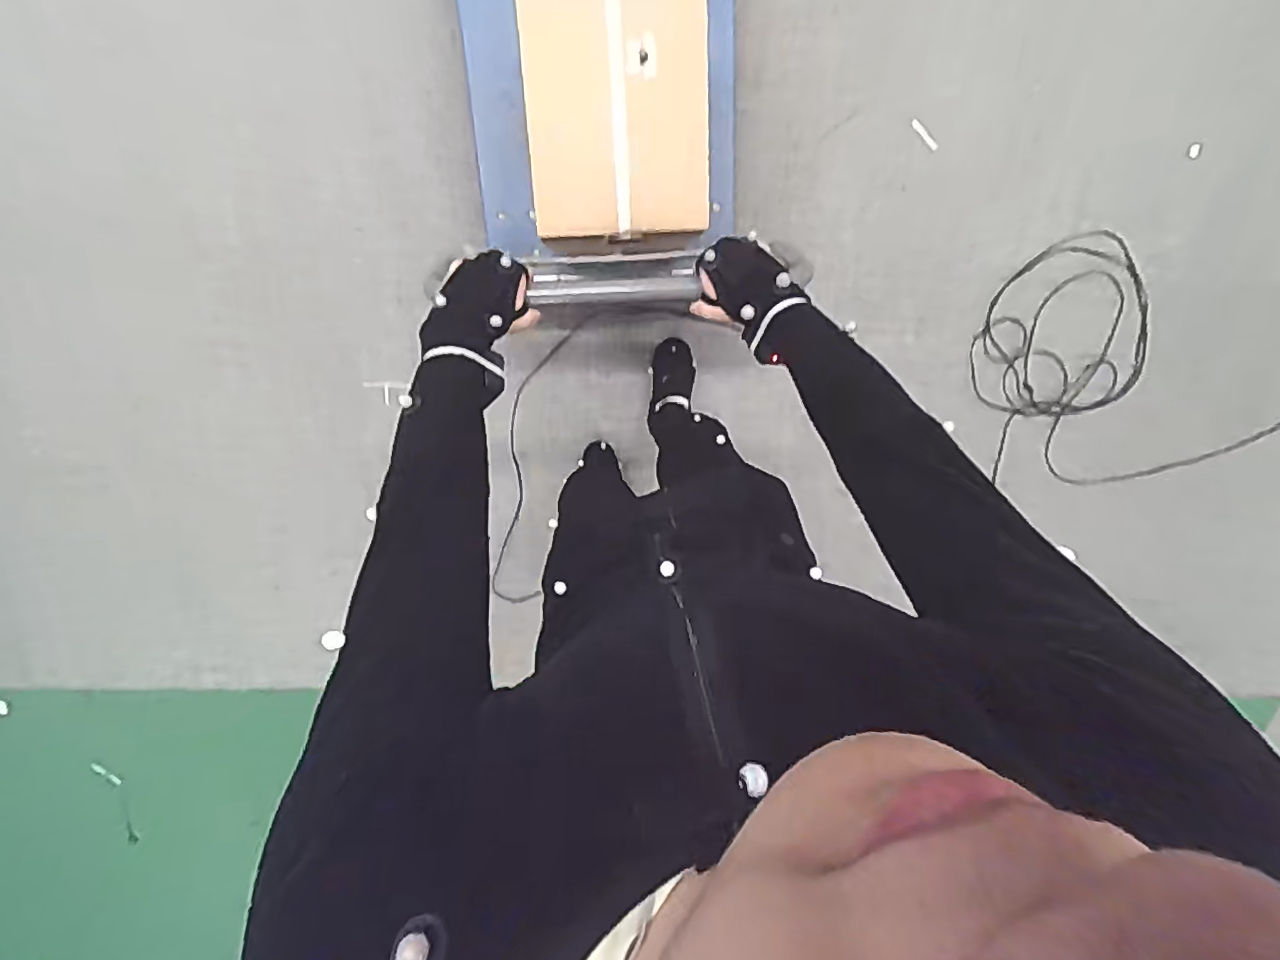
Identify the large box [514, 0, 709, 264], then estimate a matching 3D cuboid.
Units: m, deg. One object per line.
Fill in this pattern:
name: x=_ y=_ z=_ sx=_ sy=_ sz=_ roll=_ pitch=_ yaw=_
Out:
large box: x=-0.047 y=-0.668 z=1.071 sx=0.320 sy=0.320 sz=0.408 roll=-4 pitch=105 yaw=-3
